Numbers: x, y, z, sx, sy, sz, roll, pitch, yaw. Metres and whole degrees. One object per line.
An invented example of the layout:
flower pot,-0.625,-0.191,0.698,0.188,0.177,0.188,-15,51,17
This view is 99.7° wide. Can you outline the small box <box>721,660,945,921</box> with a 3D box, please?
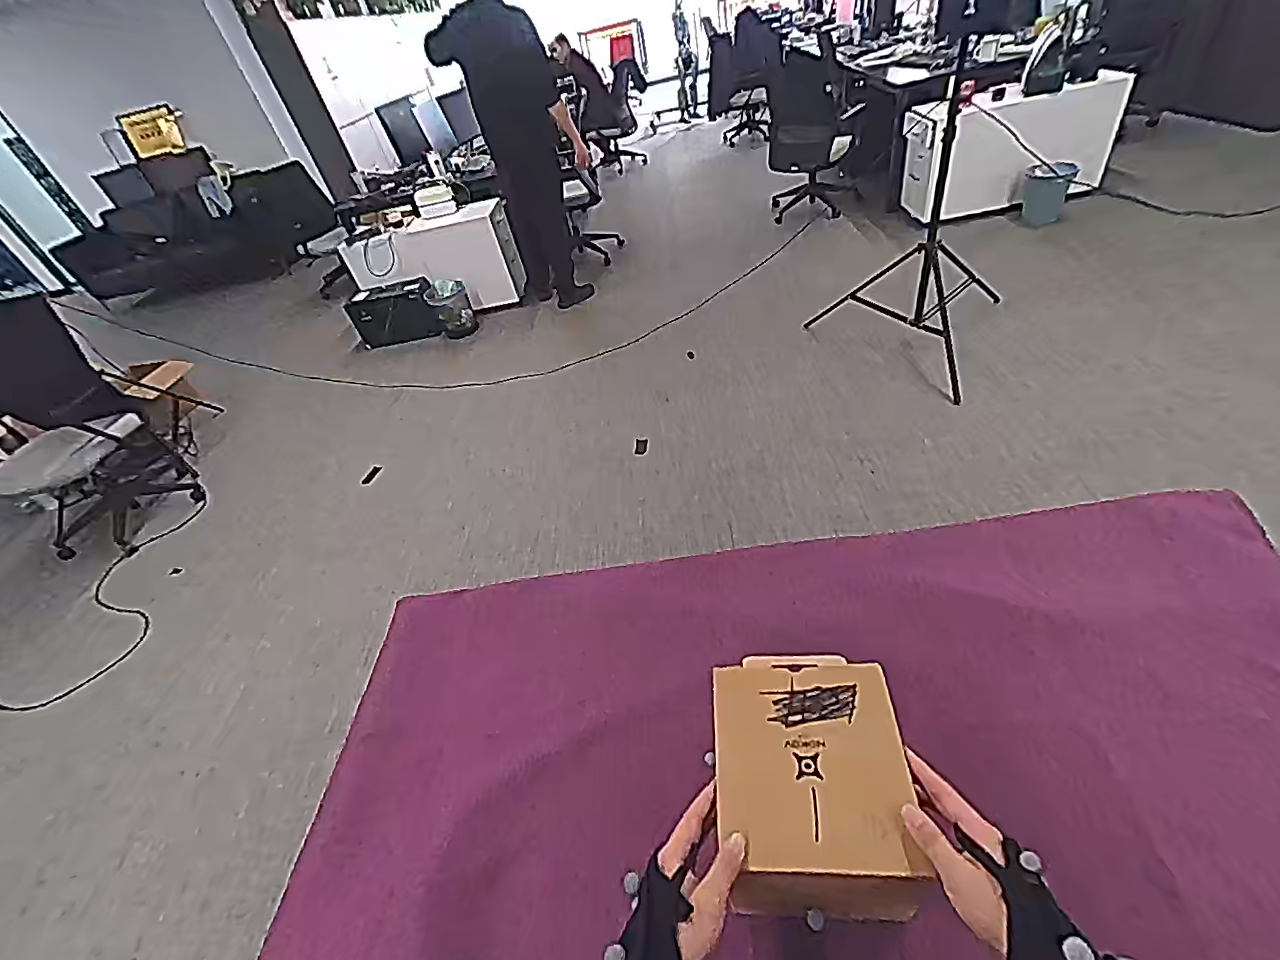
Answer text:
small box,0.168,0.298,0.527,0.168,0.176,0.179,-5,42,10
